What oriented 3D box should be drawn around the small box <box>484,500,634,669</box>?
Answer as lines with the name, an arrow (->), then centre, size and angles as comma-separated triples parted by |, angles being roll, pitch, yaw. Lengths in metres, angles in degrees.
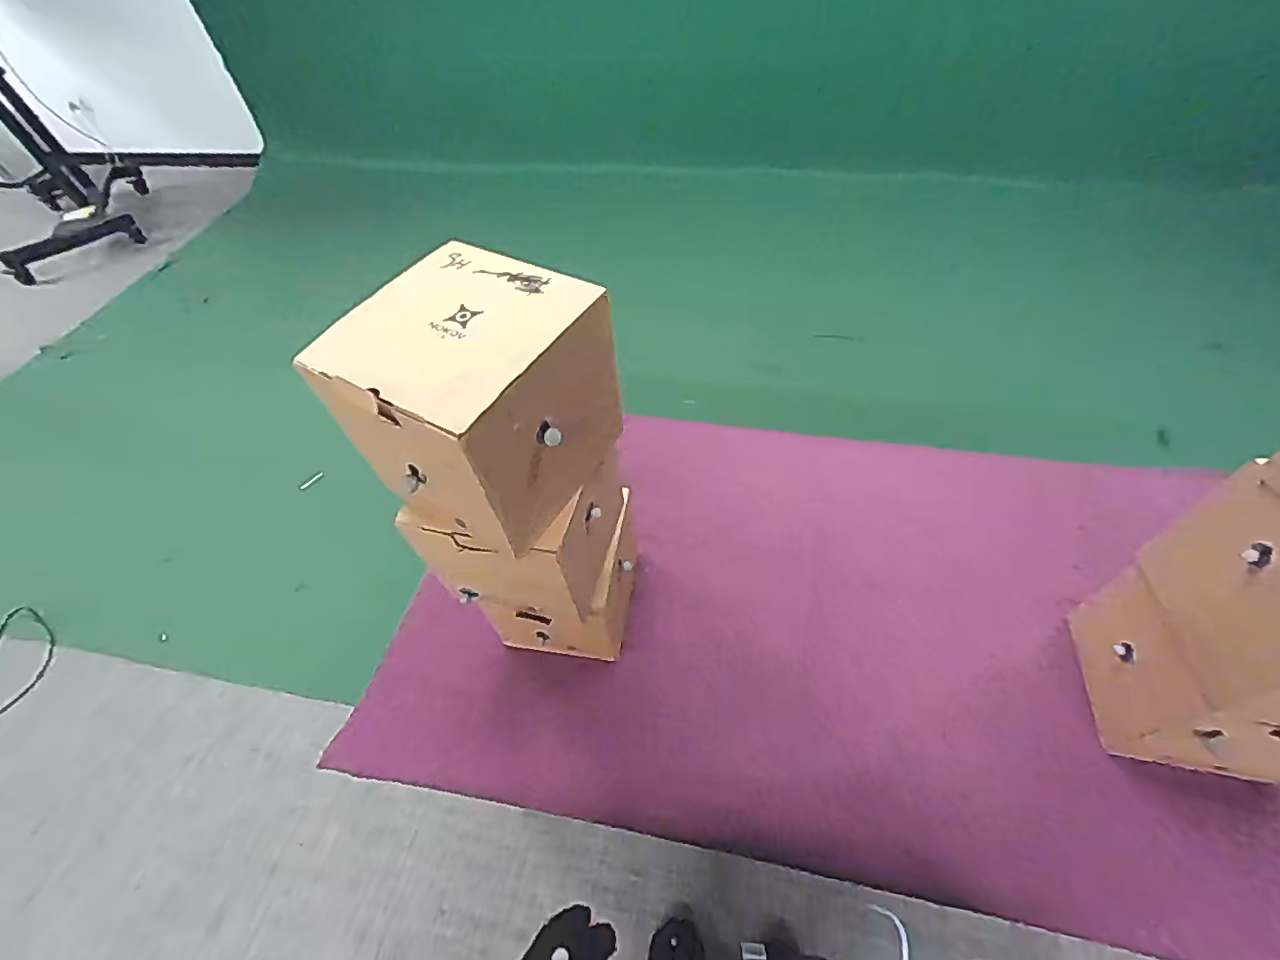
small box -> -0.103, 0.136, 0.738 | 0.168, 0.176, 0.179 | 6, 54, 8

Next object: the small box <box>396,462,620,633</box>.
small box -> -0.125, 0.049, 0.599 | 0.168, 0.176, 0.179 | 10, 54, 11

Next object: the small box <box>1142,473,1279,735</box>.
small box -> 0.612, 0.117, 0.479 | 0.168, 0.176, 0.179 | 4, 52, 9

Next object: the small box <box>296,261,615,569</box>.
small box -> -0.134, -0.052, 0.469 | 0.168, 0.176, 0.179 | 25, 60, 20
